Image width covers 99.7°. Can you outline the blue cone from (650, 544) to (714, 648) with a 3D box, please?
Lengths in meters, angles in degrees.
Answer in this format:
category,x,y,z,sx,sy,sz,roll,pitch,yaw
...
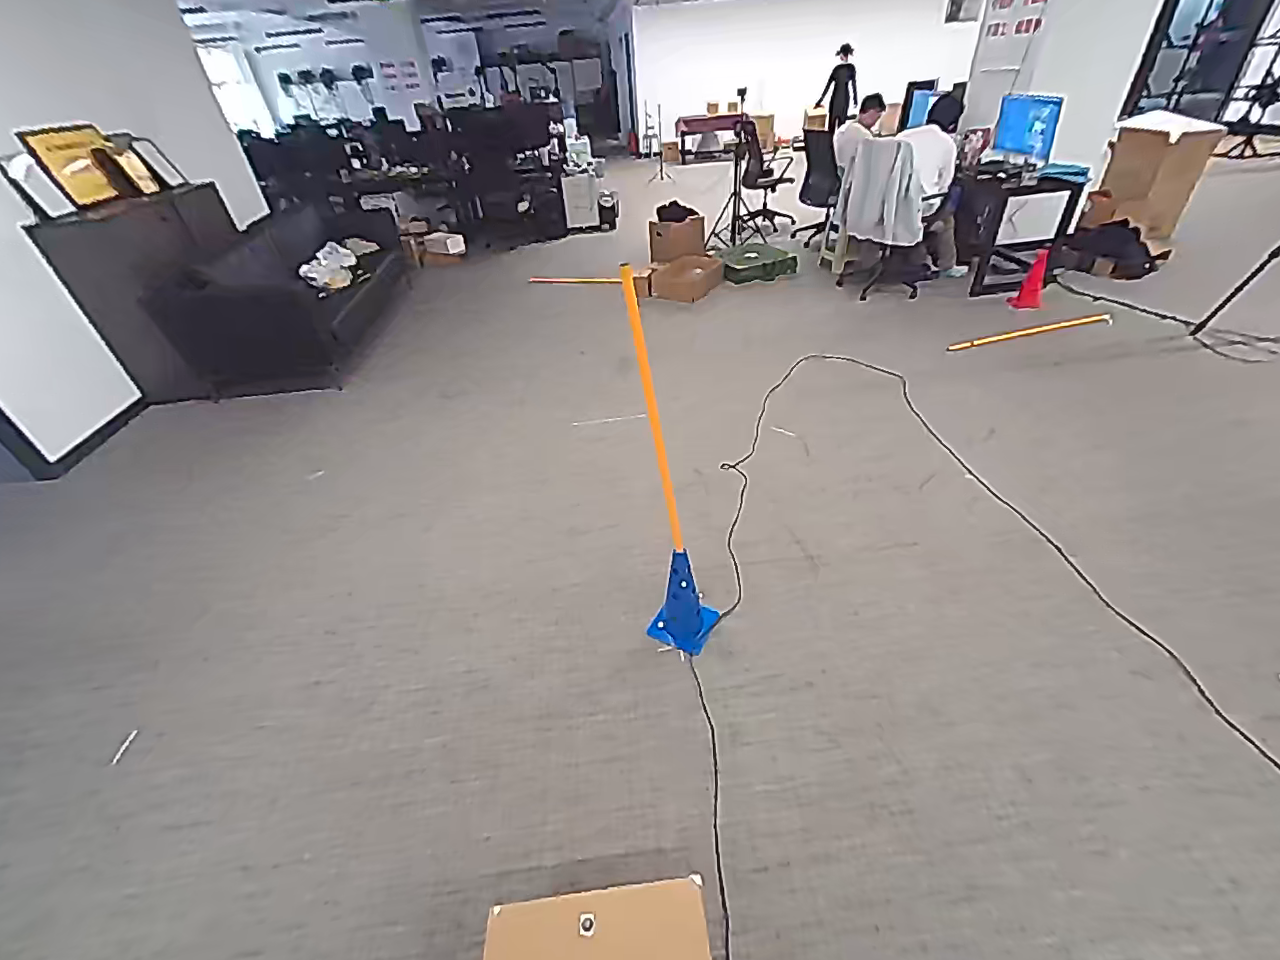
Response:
category,x,y,z,sx,sy,sz,roll,pitch,yaw
blue cone,0.132,0.354,1.756,0.192,0.380,0.193,14,42,25
